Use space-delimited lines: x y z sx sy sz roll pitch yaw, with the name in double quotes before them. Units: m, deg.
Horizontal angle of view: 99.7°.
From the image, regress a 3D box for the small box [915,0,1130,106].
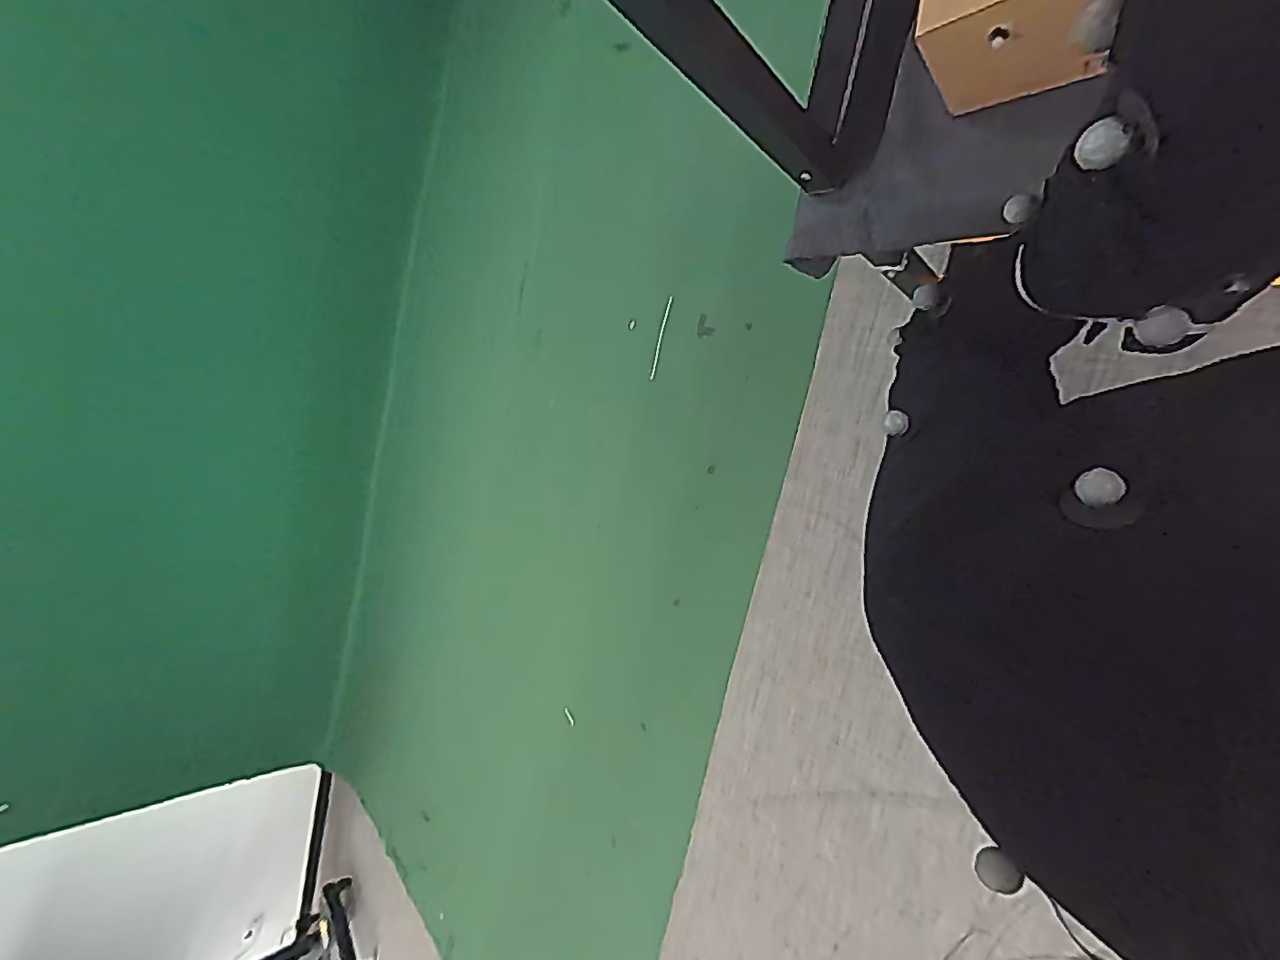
"small box" 0.447 -0.575 0.621 0.179 0.176 0.168 12 95 43
